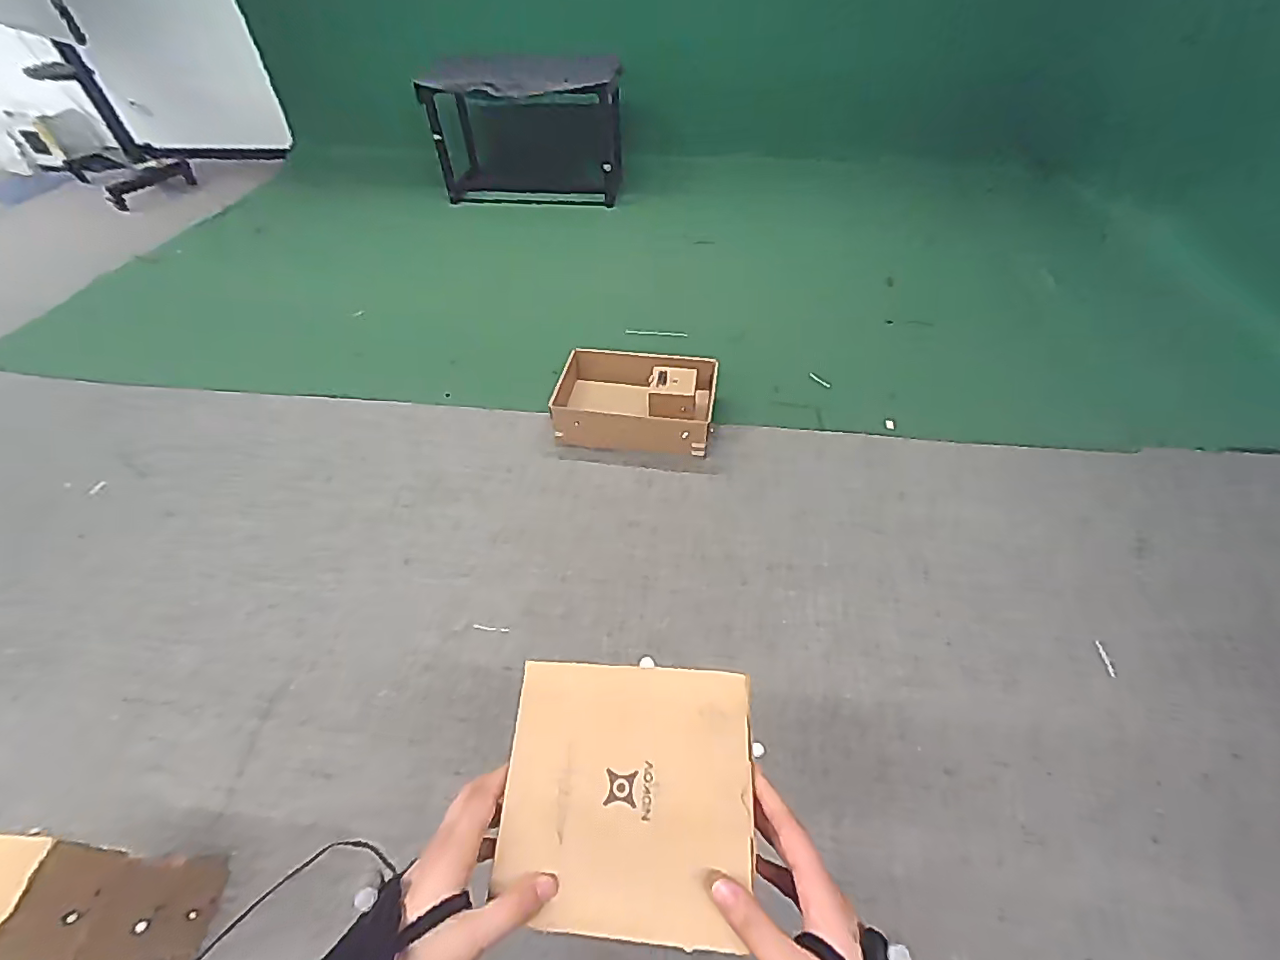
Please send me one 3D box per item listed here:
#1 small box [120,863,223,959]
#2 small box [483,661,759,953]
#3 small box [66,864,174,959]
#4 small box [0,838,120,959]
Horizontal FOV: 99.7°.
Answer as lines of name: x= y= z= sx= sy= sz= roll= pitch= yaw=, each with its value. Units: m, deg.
small box: x=-1.020 y=0.900 z=1.110 sx=0.179 sy=0.176 sz=0.168 roll=-1 pitch=46 yaw=1
small box: x=-0.001 y=0.254 z=0.442 sx=0.179 sy=0.176 sz=0.168 roll=0 pitch=58 yaw=8
small box: x=-1.022 y=0.801 z=0.979 sx=0.179 sy=0.176 sz=0.168 roll=2 pitch=47 yaw=3
small box: x=-1.020 y=0.686 z=0.864 sx=0.179 sy=0.176 sz=0.168 roll=1 pitch=47 yaw=2
